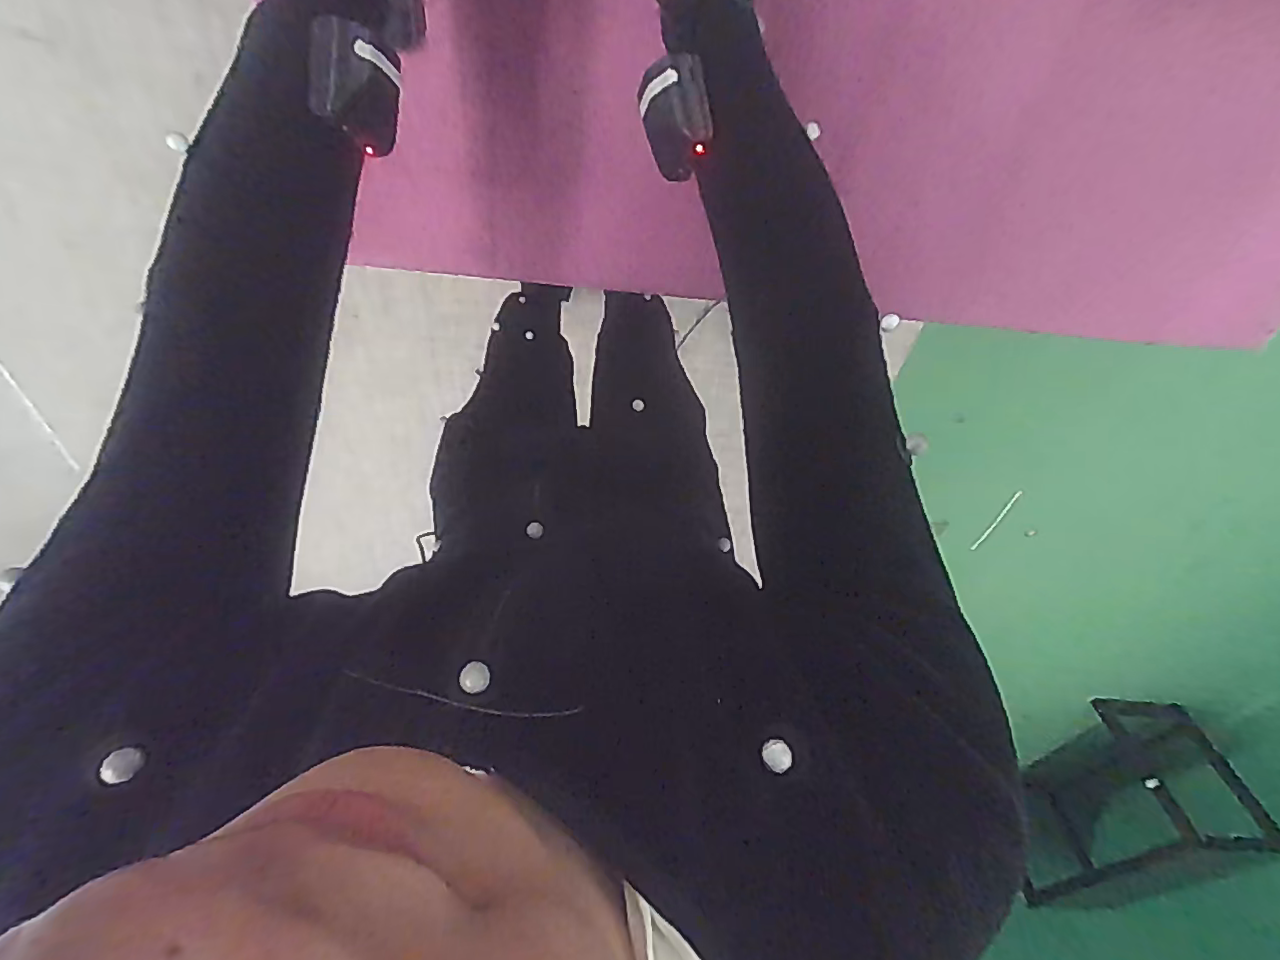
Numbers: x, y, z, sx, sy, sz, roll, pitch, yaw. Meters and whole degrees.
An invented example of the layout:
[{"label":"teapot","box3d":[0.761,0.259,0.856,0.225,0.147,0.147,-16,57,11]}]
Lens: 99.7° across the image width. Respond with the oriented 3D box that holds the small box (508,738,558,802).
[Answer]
[{"label":"small box","box3d":[-0.427,1.160,2.163,0.168,0.176,0.179,9,129,-10]}]
